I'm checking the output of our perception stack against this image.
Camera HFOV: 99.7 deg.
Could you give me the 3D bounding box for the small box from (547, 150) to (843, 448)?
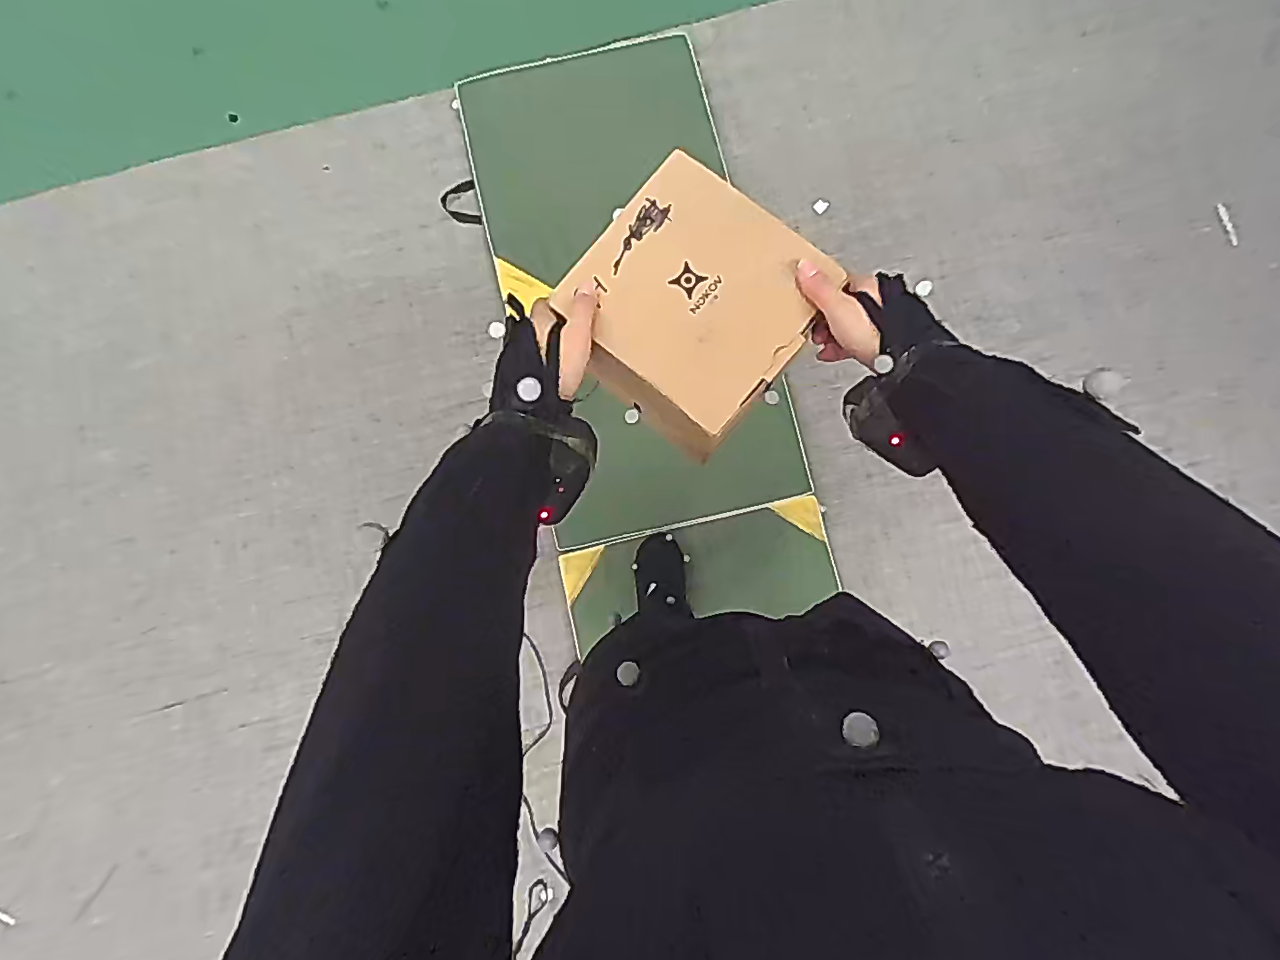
[{"bbox_3d":[0.046,-0.145,0.503,0.179,0.176,0.168,40,87,5],"label":"small box"}]
